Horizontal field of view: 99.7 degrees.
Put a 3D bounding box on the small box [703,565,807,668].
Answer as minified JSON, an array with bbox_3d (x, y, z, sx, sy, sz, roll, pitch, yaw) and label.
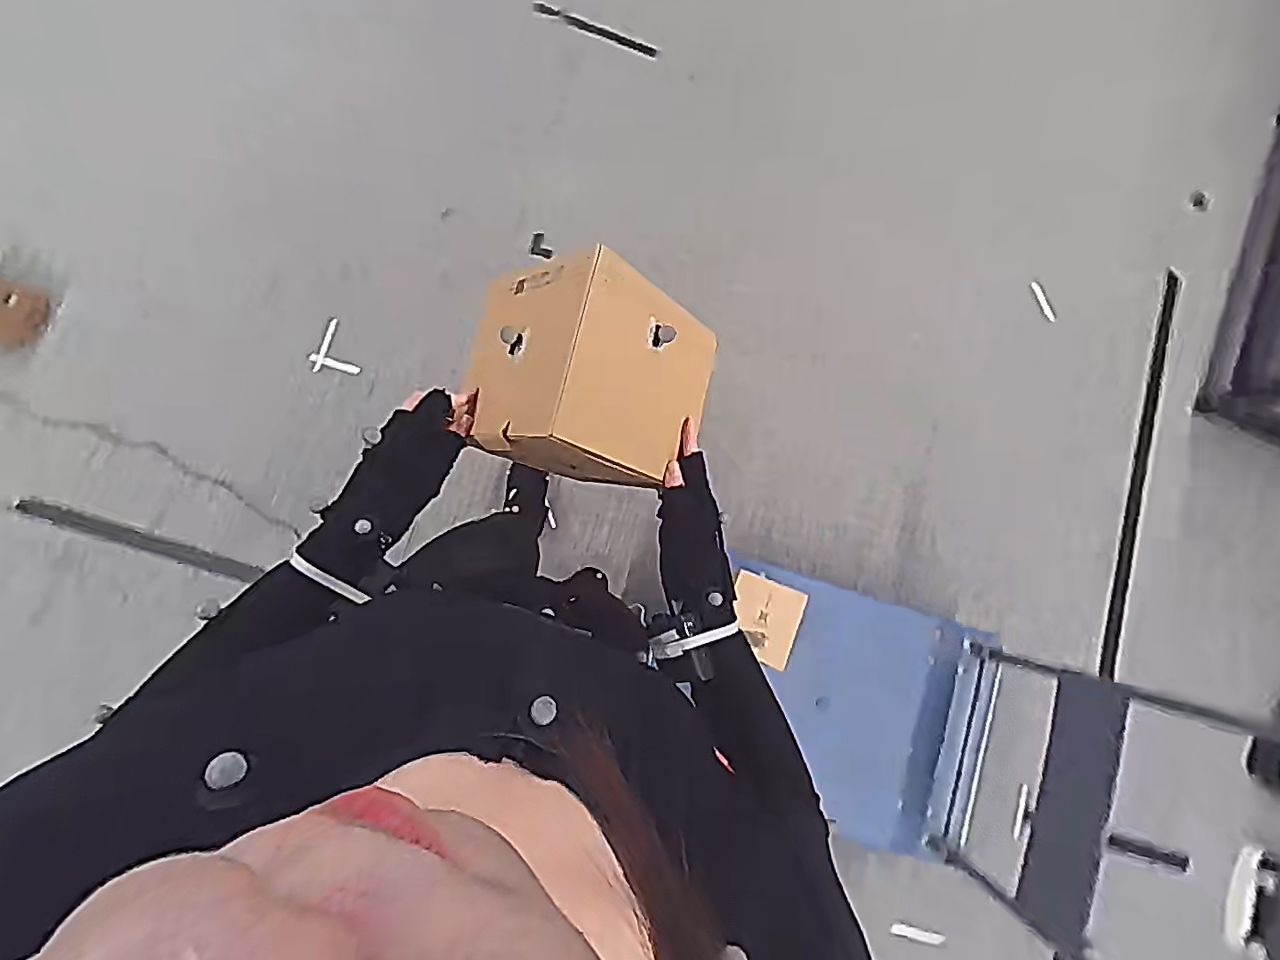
[{"bbox_3d":[0.257,0.309,1.261,0.168,0.176,0.179,22,82,-3],"label":"small box"}]

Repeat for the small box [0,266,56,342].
[{"bbox_3d":[-1.656,-0.468,1.355,0.179,0.176,0.168,25,82,-2],"label":"small box"}]

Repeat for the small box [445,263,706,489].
[{"bbox_3d":[-0.058,-0.096,0.539,0.179,0.168,0.176,21,79,-46],"label":"small box"}]
